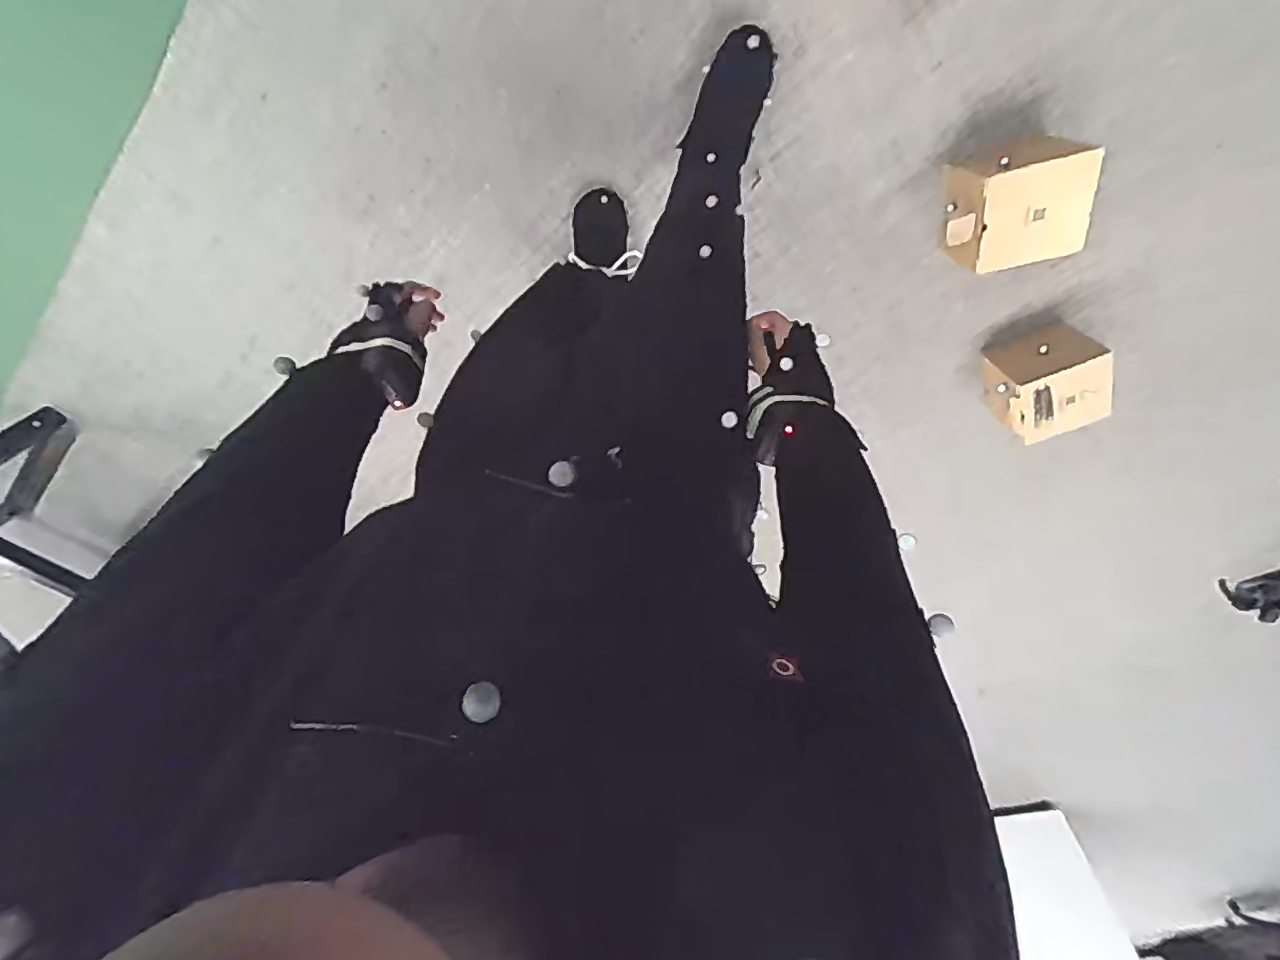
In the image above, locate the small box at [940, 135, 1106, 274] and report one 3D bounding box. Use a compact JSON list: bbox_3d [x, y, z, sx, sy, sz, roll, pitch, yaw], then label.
[{"bbox_3d":[0.670,-0.498,0.971,0.179,0.176,0.168,-11,127,11],"label":"small box"}]
